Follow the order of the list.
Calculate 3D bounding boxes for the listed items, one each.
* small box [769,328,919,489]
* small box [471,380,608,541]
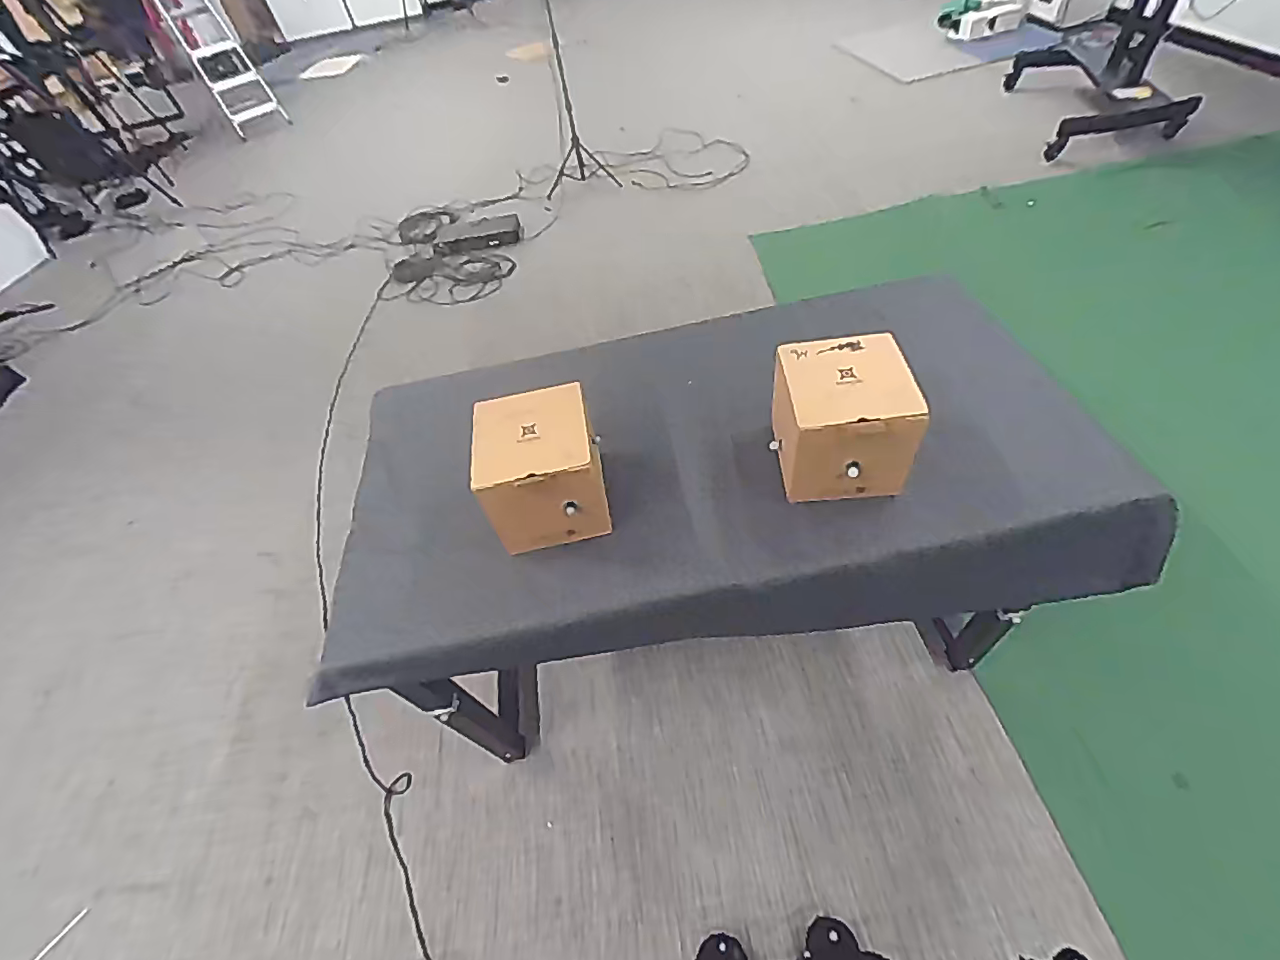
[{"bbox_3d":[0.291,-0.099,0.814,0.168,0.176,0.179,-5,53,6],"label":"small box"},{"bbox_3d":[-0.150,-0.022,0.838,0.168,0.176,0.179,-12,50,-1],"label":"small box"}]
